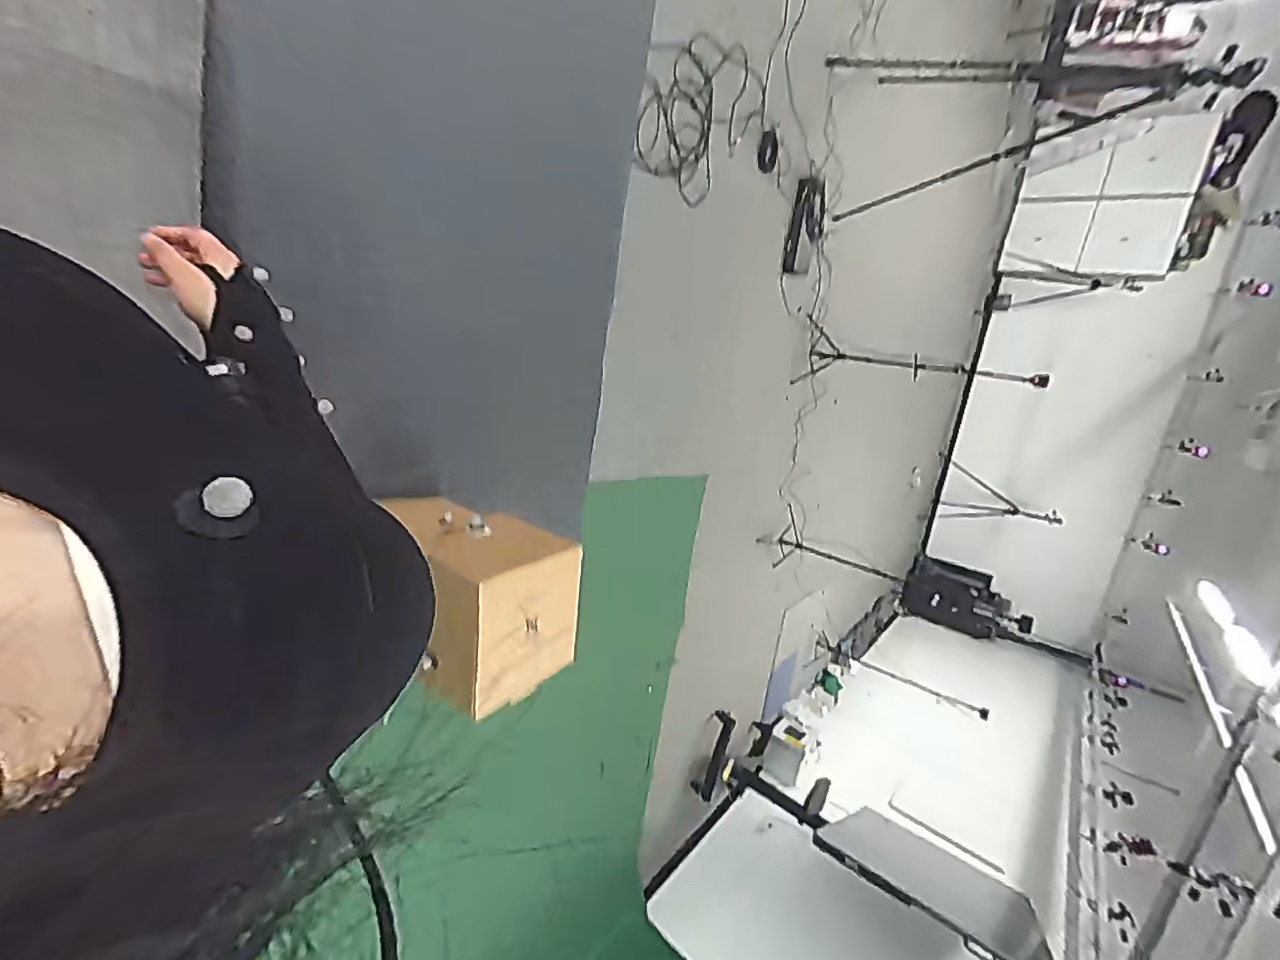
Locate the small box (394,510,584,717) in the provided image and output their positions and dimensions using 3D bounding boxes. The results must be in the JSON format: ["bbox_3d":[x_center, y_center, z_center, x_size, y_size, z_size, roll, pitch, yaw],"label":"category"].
[{"bbox_3d":[-0.193,0.154,0.689,0.168,0.176,0.179,-15,115,-53],"label":"small box"}]
